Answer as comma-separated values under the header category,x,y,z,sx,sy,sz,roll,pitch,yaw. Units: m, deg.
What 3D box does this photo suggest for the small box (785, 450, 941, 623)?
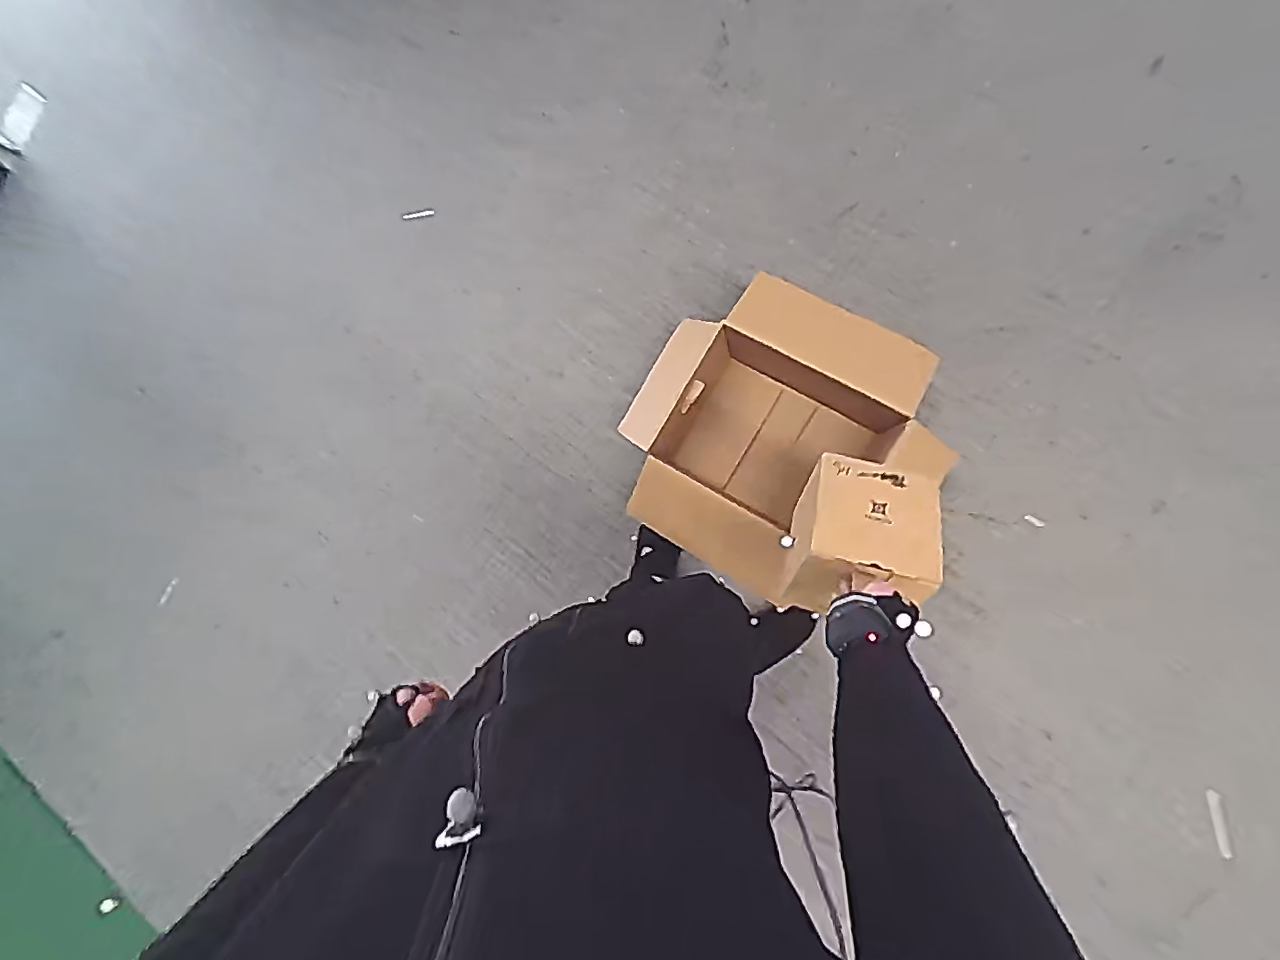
category,x,y,z,sx,sy,sz,roll,pitch,yaw
small box,0.322,0.089,0.802,0.168,0.176,0.179,16,57,9
